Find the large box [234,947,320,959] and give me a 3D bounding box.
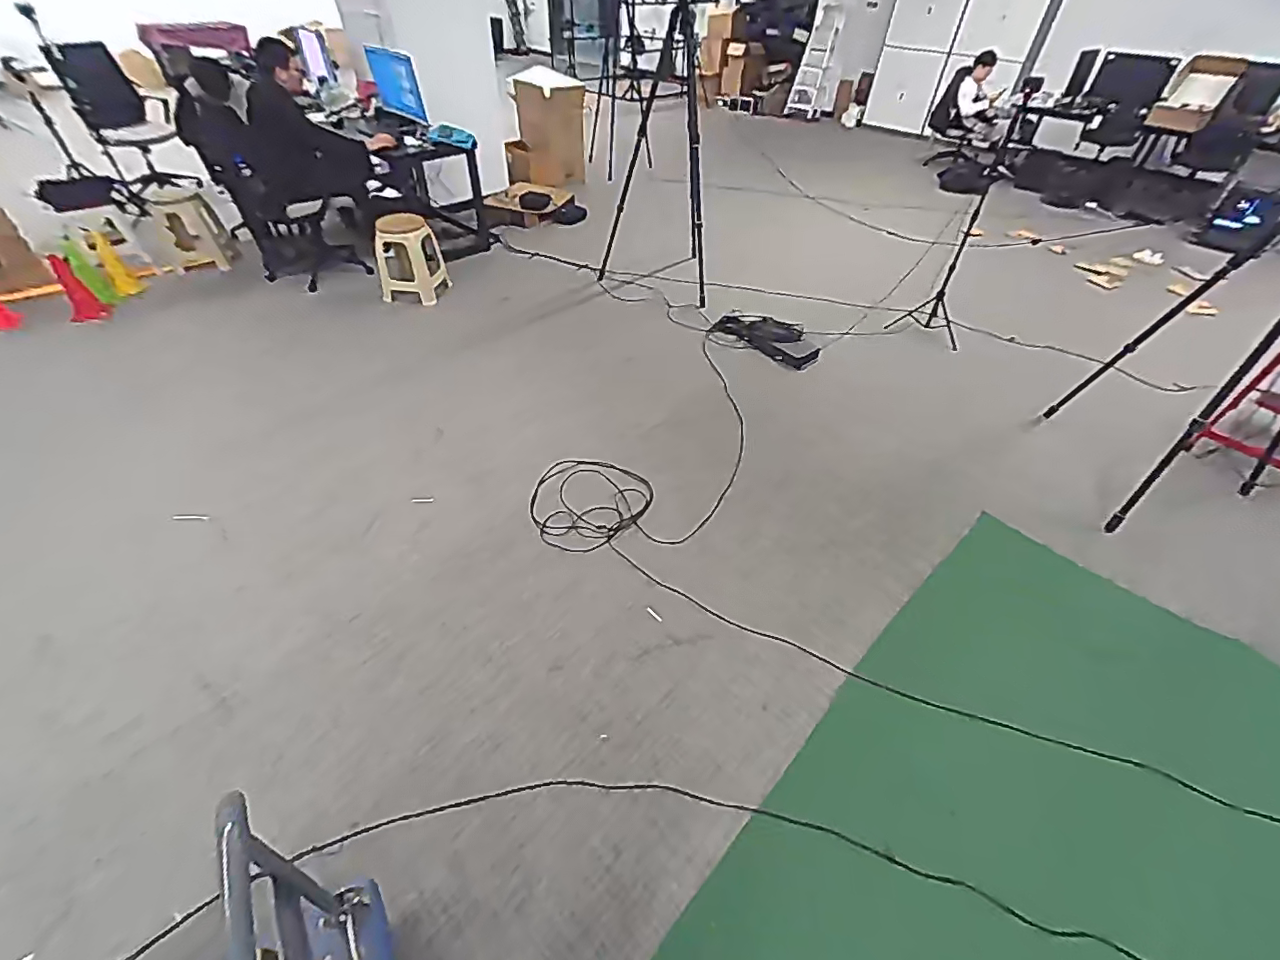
[{"bbox_3d":[-0.696,1.015,0.807,0.408,0.320,0.320,-23,49,-23],"label":"large box"}]
